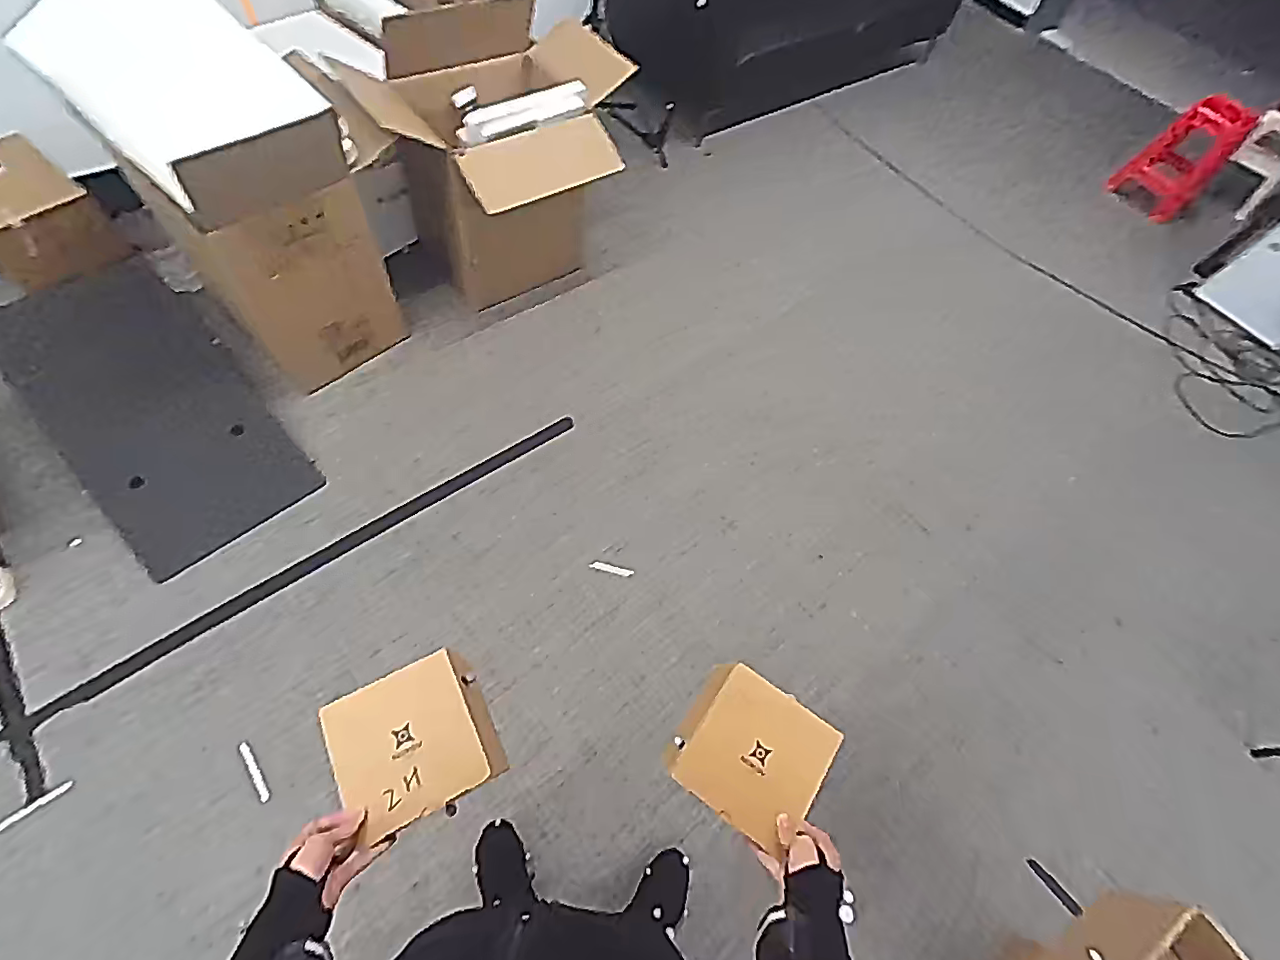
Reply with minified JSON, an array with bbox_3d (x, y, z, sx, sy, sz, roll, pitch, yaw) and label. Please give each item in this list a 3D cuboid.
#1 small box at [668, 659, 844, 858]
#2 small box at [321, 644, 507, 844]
[{"bbox_3d":[0.151,0.379,0.772,0.168,0.176,0.179,34,72,10],"label":"small box"},{"bbox_3d":[-0.297,0.351,0.739,0.168,0.176,0.179,-24,70,-15],"label":"small box"}]
